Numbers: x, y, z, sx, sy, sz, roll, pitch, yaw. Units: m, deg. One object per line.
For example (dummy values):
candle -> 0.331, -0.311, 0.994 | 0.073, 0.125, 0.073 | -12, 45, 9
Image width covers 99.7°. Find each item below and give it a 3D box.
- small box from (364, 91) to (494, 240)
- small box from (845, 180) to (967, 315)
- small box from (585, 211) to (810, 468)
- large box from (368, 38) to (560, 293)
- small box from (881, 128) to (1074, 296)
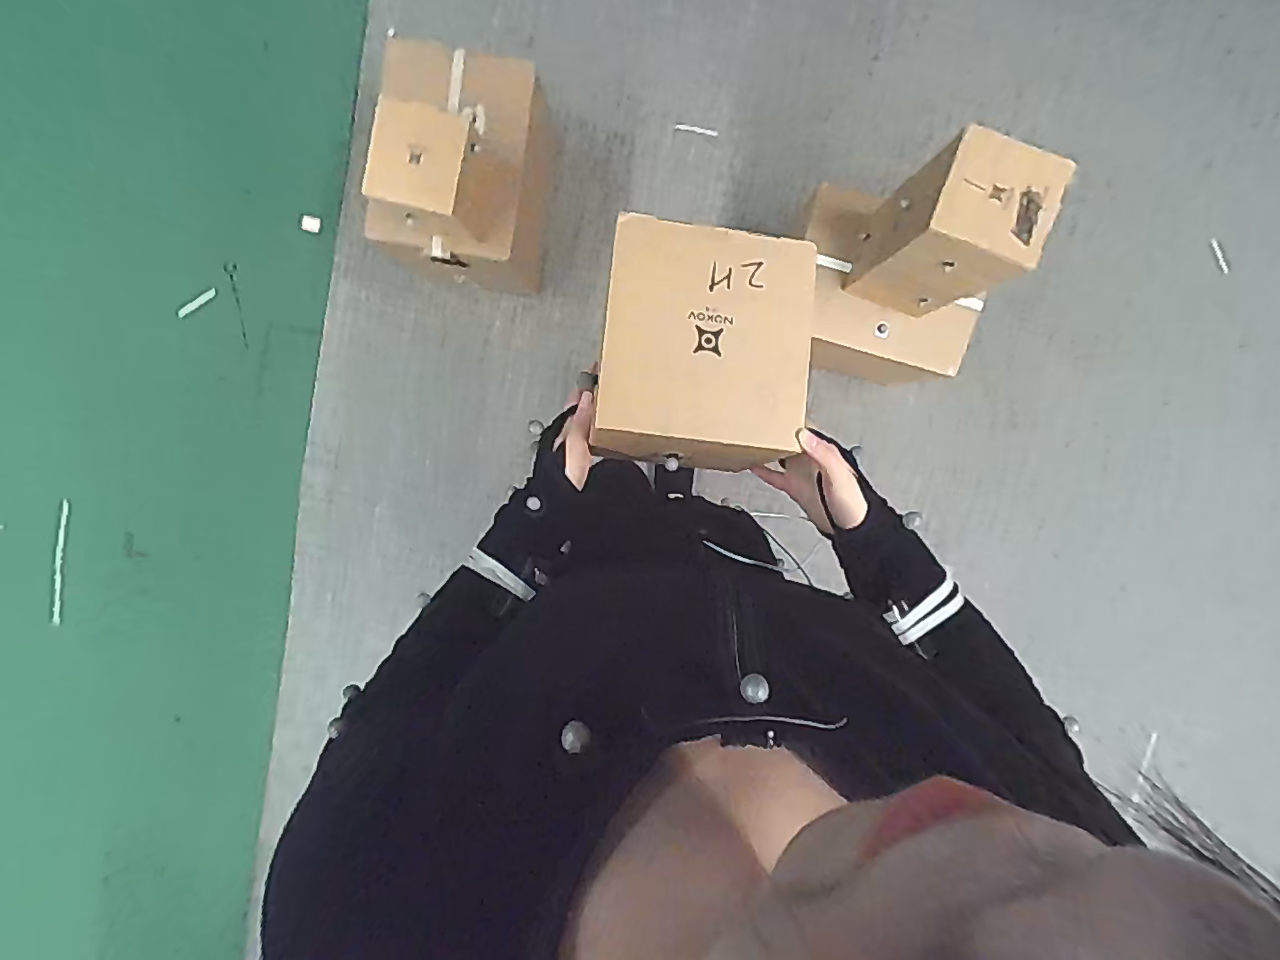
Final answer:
small box -> -0.392, -0.585, 1.031 | 0.168, 0.176, 0.179 | 13, 94, -2
small box -> 0.532, -0.435, 1.045 | 0.179, 0.176, 0.168 | 20, 93, -2
small box -> 0.040, -0.111, 0.504 | 0.168, 0.176, 0.179 | 7, 84, -7
large box -> -0.389, -0.696, 1.267 | 0.320, 0.320, 0.408 | 10, 95, -1
small box -> 0.534, -0.419, 0.881 | 0.179, 0.176, 0.168 | 21, 93, -1
